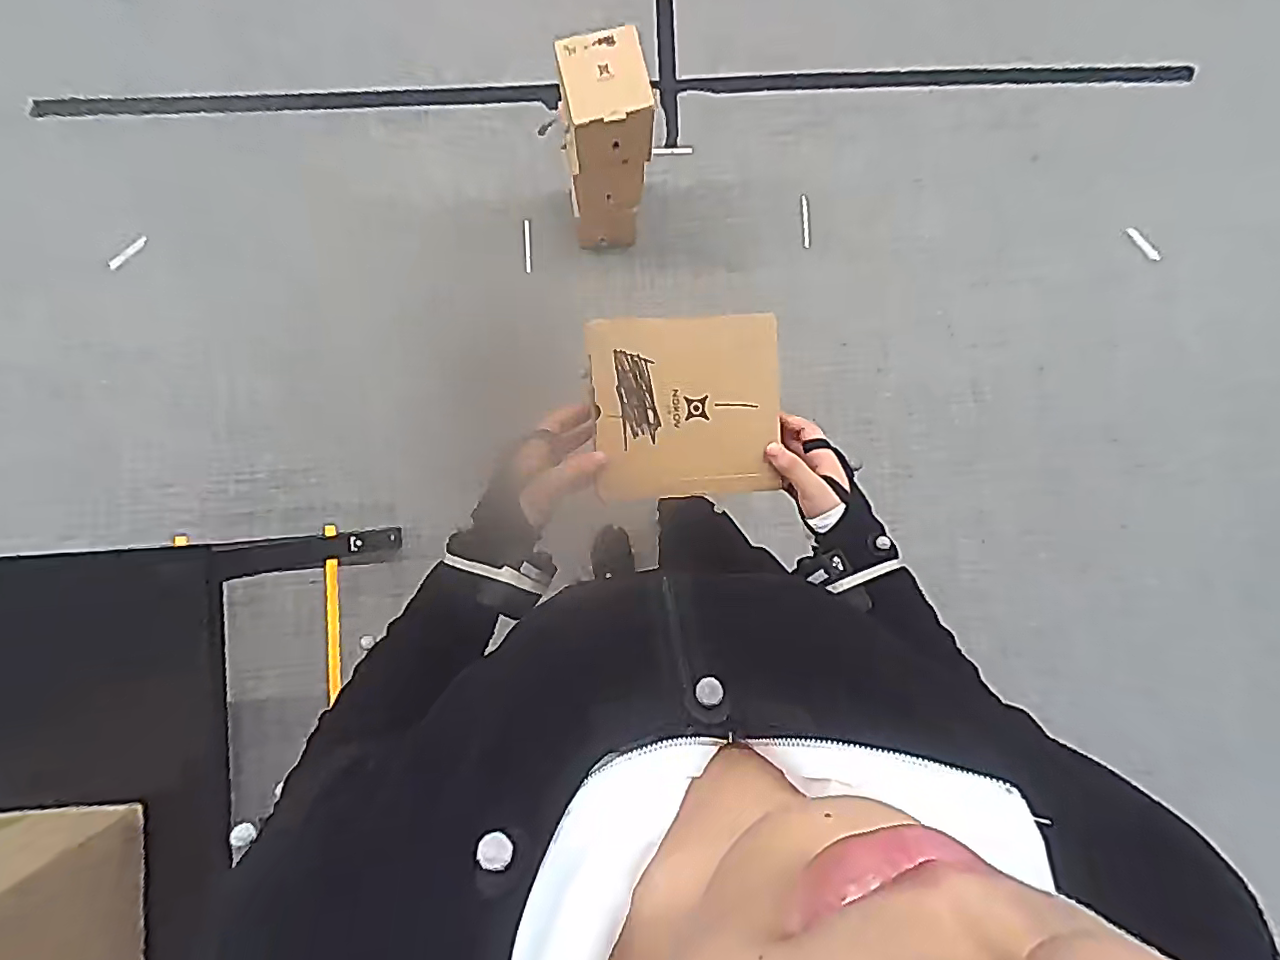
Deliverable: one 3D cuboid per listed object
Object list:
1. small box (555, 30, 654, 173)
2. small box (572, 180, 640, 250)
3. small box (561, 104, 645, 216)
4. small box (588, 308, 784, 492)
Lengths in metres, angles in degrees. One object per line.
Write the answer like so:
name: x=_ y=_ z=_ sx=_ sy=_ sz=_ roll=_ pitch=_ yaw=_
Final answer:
small box: x=-0.069 y=-0.774 z=1.129 sx=0.168 sy=0.176 sz=0.179 roll=-13 pitch=88 yaw=-2
small box: x=-0.093 y=-0.748 z=1.456 sx=0.168 sy=0.176 sz=0.179 roll=-7 pitch=89 yaw=-1
small box: x=-0.086 y=-0.769 z=1.292 sx=0.168 sy=0.176 sz=0.179 roll=-11 pitch=88 yaw=-1
small box: x=0.039 y=-0.077 z=0.573 sx=0.179 sy=0.176 sz=0.168 roll=-4 pitch=95 yaw=-5
